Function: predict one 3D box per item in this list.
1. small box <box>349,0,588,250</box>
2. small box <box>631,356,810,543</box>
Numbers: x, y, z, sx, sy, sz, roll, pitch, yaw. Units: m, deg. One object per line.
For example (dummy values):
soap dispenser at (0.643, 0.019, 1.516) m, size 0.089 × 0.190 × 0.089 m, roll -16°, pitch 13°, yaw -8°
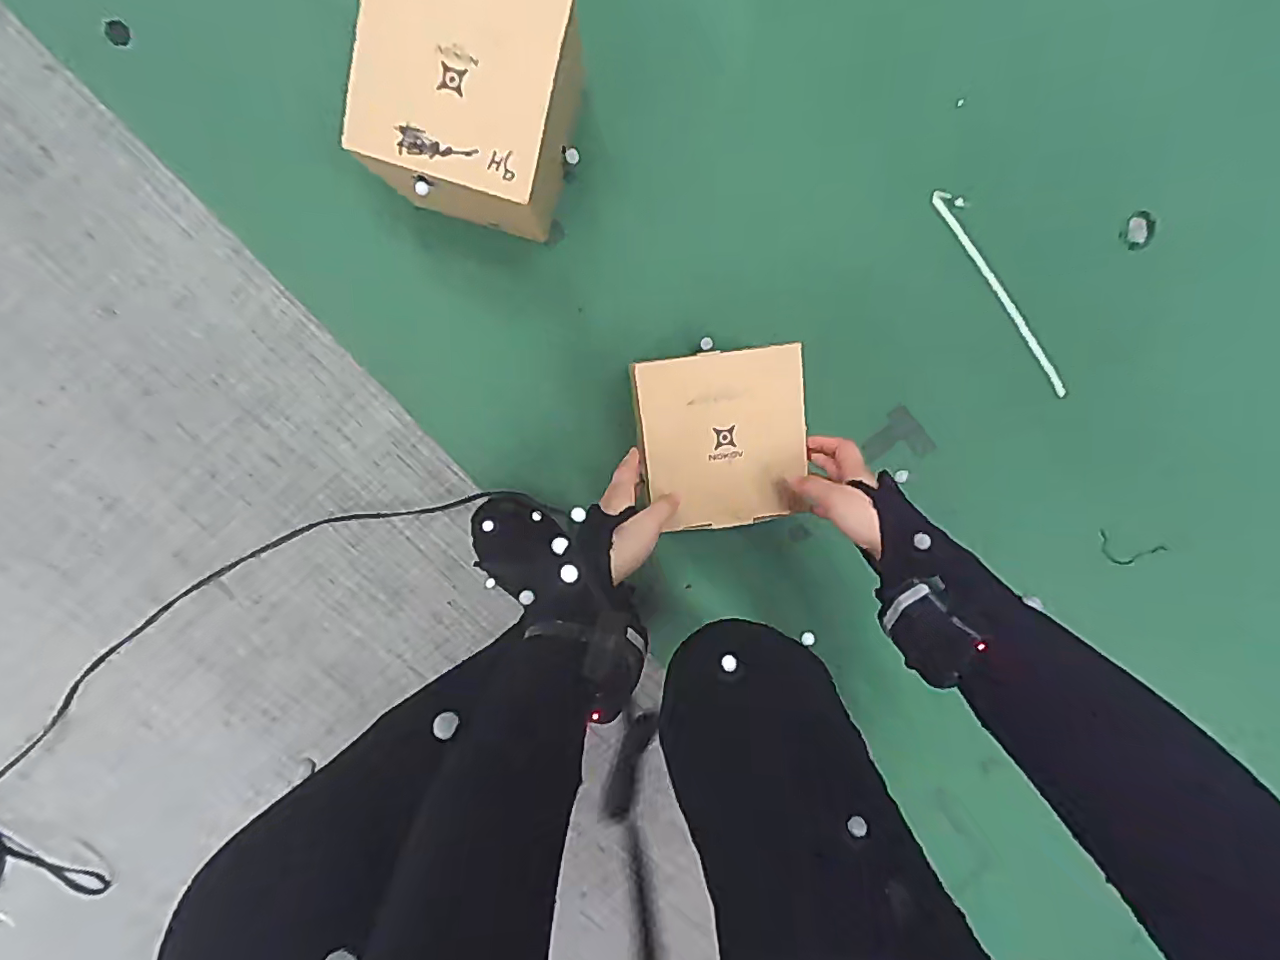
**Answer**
small box at (-0.152, -0.354, 0.535) m, size 0.168 × 0.176 × 0.179 m, roll 16°, pitch 100°, yaw -6°
small box at (0.082, -0.045, 0.615) m, size 0.168 × 0.176 × 0.179 m, roll -8°, pitch 102°, yaw -2°
